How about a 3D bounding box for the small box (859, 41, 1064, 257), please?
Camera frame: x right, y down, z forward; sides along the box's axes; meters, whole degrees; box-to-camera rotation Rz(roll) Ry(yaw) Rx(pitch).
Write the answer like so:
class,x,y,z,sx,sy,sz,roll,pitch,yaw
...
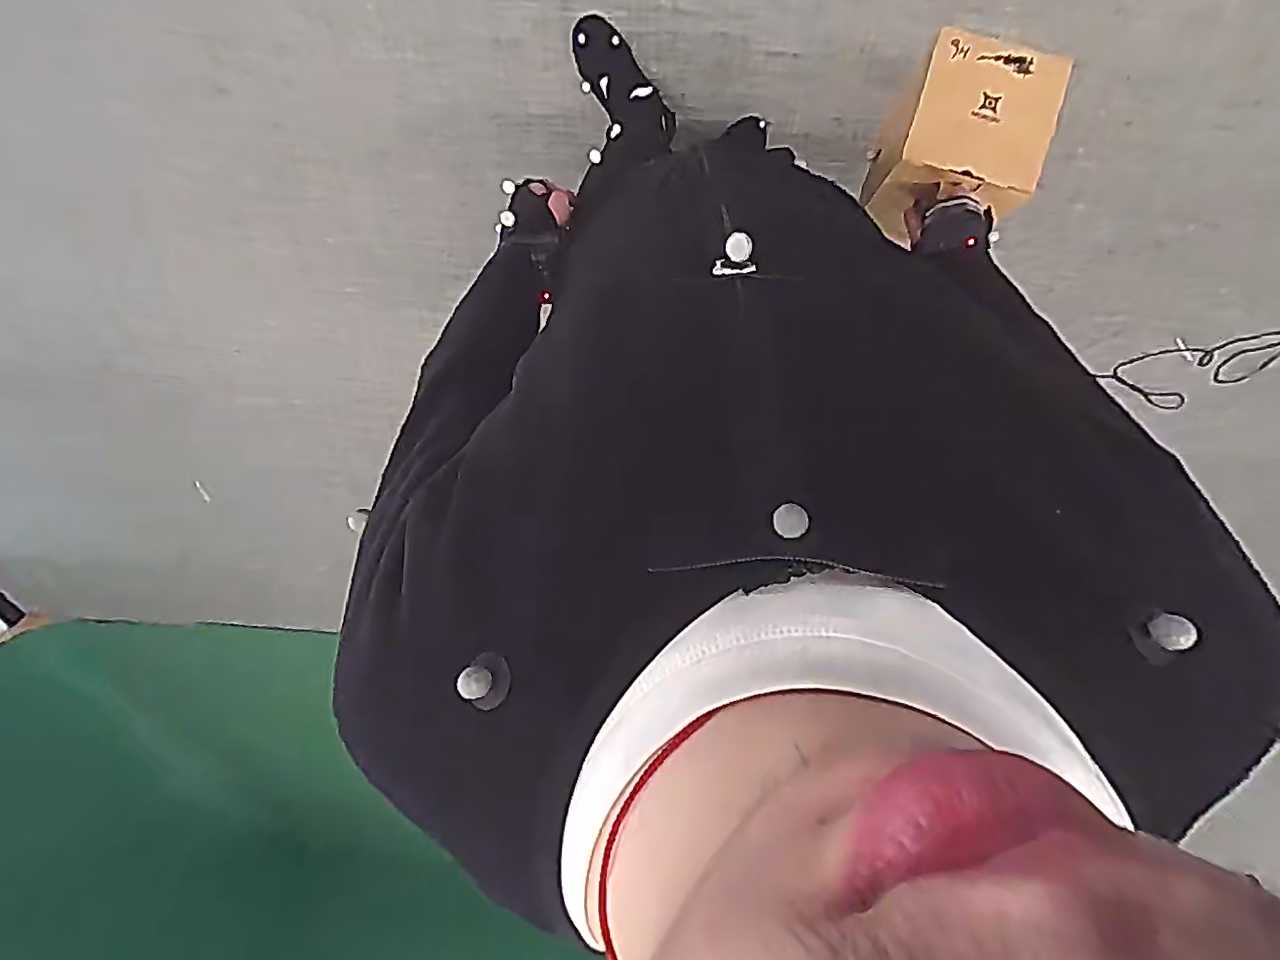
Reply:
class,x,y,z,sx,sy,sz,roll,pitch,yaw
small box,0.423,-0.437,0.744,0.168,0.176,0.179,16,88,4
